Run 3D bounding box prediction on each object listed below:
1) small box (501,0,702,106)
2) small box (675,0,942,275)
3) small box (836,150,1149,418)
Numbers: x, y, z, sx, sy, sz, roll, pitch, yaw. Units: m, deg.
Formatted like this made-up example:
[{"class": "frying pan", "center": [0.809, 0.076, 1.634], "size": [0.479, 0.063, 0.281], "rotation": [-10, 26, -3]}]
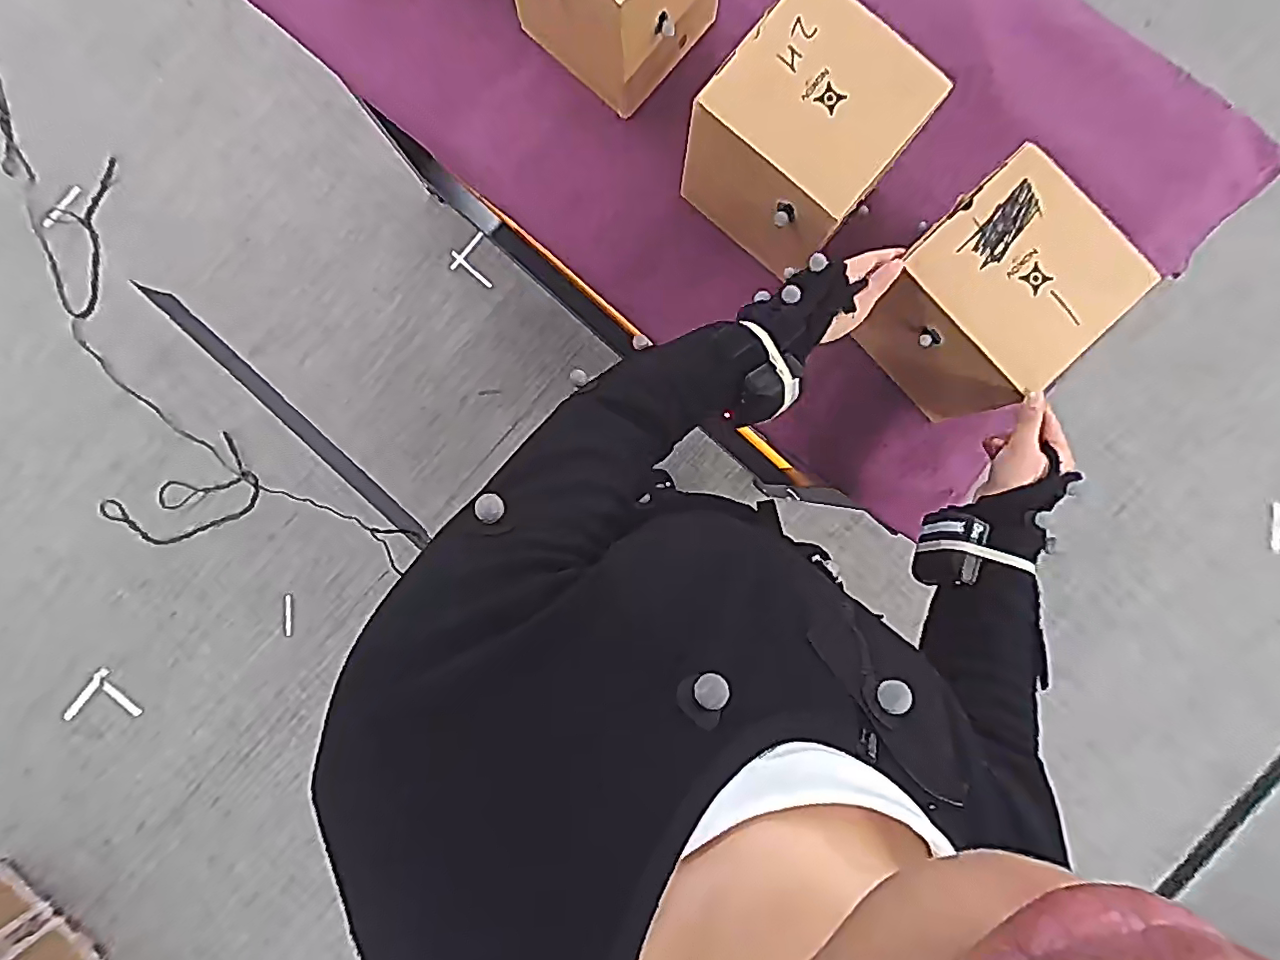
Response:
[{"class": "small box", "center": [-0.041, -0.540, 0.561], "size": [0.179, 0.176, 0.168], "rotation": [41, 92, 0]}, {"class": "small box", "center": [0.154, -0.341, 0.561], "size": [0.179, 0.176, 0.168], "rotation": [40, 90, 0]}, {"class": "small box", "center": [0.340, -0.181, 0.564], "size": [0.168, 0.176, 0.179], "rotation": [-44, 91, 2]}]
